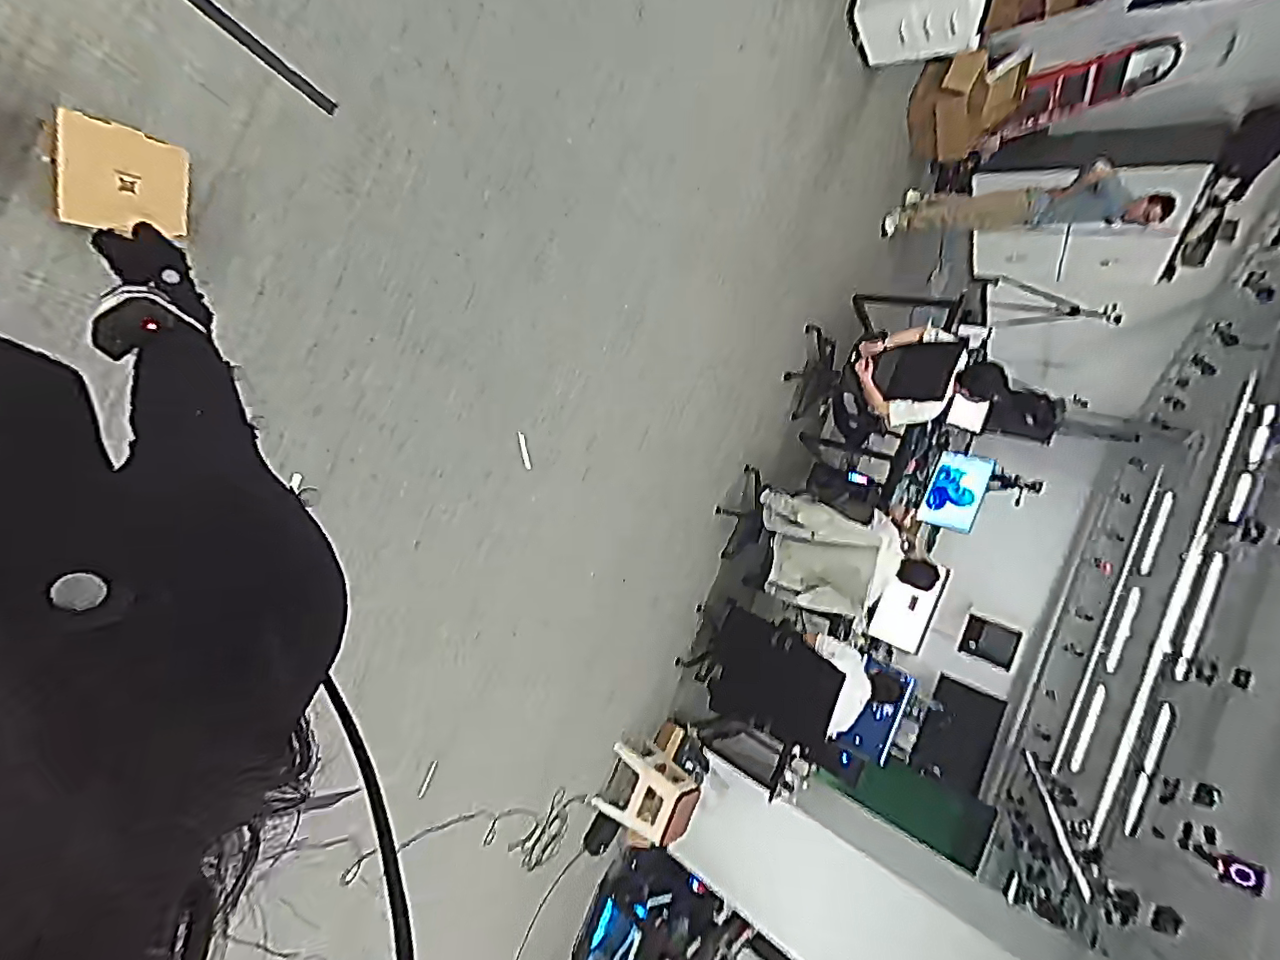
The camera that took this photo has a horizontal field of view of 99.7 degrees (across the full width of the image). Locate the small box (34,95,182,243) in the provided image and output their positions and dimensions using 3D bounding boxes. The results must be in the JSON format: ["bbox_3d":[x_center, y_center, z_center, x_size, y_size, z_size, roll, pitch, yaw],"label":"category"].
[{"bbox_3d":[-0.946,-0.540,0.961,0.168,0.176,0.179,-2,109,-52],"label":"small box"}]
